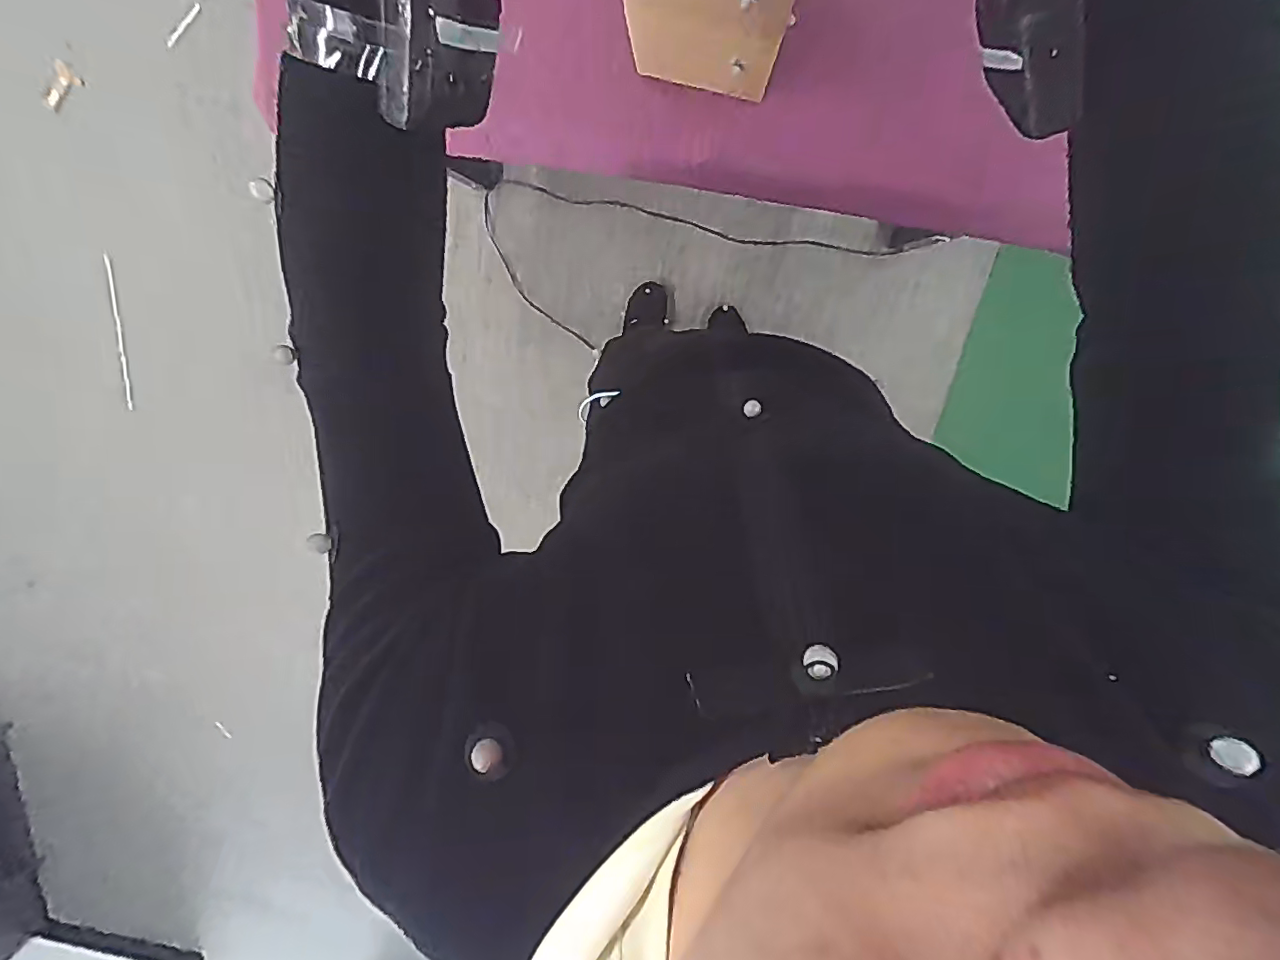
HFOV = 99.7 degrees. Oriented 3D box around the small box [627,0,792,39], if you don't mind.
[{"bbox_3d":[0.078,-0.538,0.482,0.179,0.176,0.168,15,108,1],"label":"small box"}]
